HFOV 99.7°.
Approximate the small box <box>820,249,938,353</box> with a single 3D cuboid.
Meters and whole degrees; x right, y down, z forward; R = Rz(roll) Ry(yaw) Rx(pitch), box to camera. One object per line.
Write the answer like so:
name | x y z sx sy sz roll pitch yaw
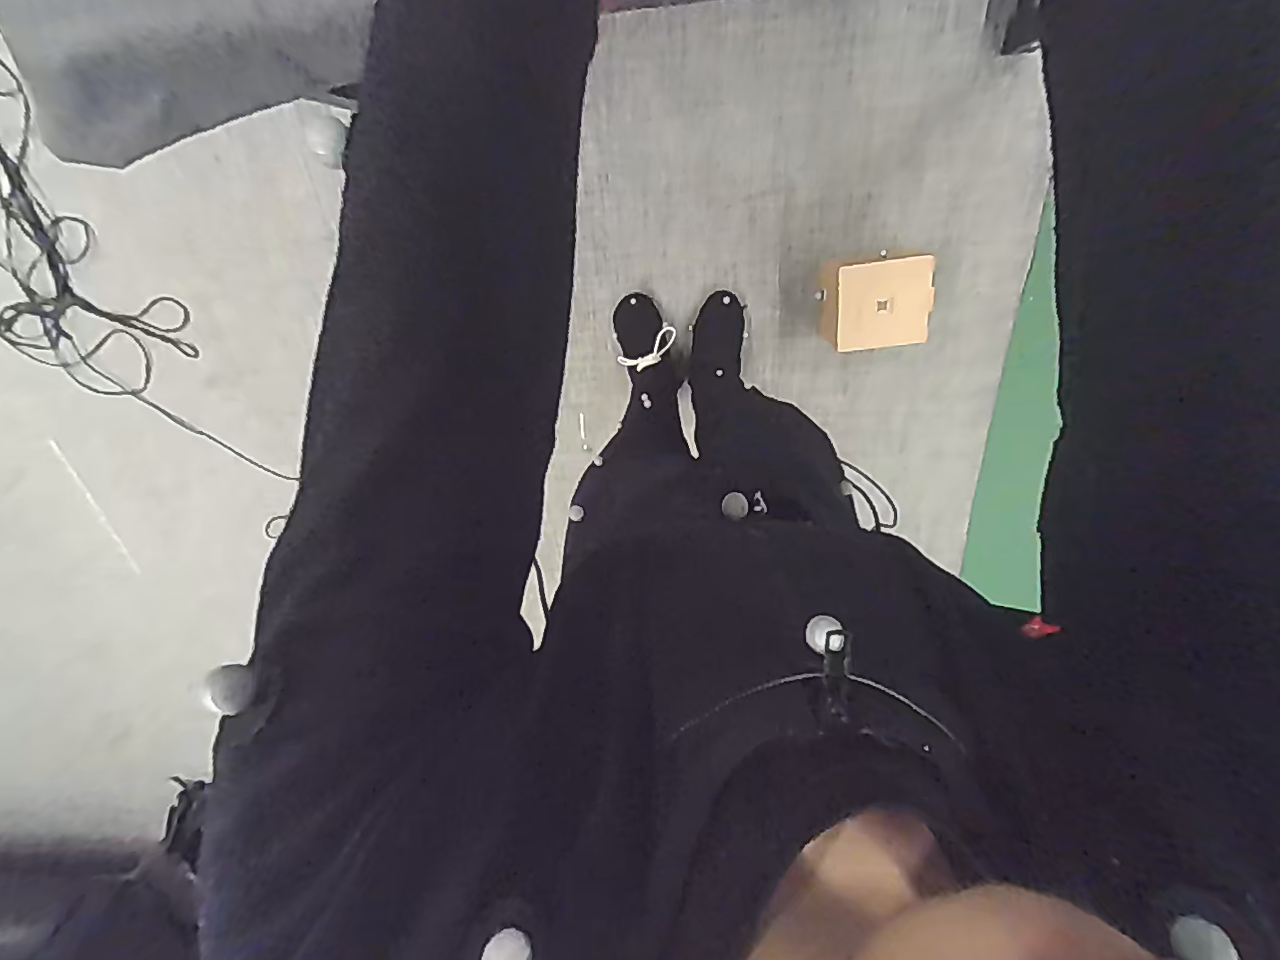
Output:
small box | 0.477 -0.369 1.104 0.179 0.176 0.168 -6 116 8
